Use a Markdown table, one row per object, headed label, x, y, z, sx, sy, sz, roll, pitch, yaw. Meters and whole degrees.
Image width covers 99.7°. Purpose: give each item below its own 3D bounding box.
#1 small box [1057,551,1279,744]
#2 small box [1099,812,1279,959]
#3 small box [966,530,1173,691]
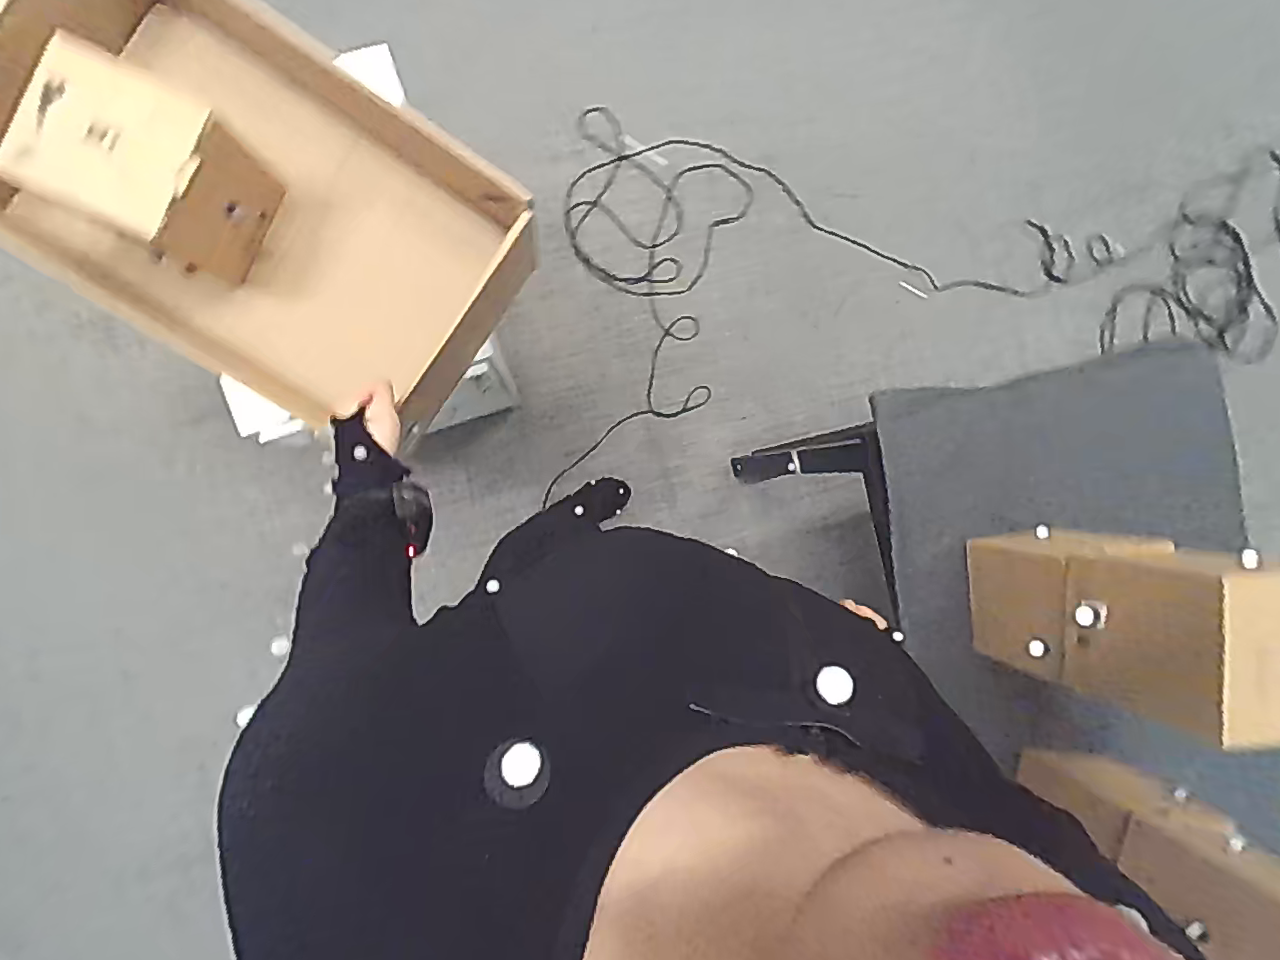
| label | x | y | z | sx | sy | sz | roll | pitch | yaw |
| --- | --- | --- | --- | --- | --- | --- | --- | --- | --- |
| small box | 0.616 | 0.170 | 0.602 | 0.179 | 0.176 | 0.168 | 1 | 89 | -8 |
| small box | 0.675 | 0.522 | 0.608 | 0.168 | 0.176 | 0.179 | 19 | 87 | -9 |
| small box | 0.596 | 0.171 | 0.763 | 0.168 | 0.176 | 0.179 | -5 | 91 | -9 |
